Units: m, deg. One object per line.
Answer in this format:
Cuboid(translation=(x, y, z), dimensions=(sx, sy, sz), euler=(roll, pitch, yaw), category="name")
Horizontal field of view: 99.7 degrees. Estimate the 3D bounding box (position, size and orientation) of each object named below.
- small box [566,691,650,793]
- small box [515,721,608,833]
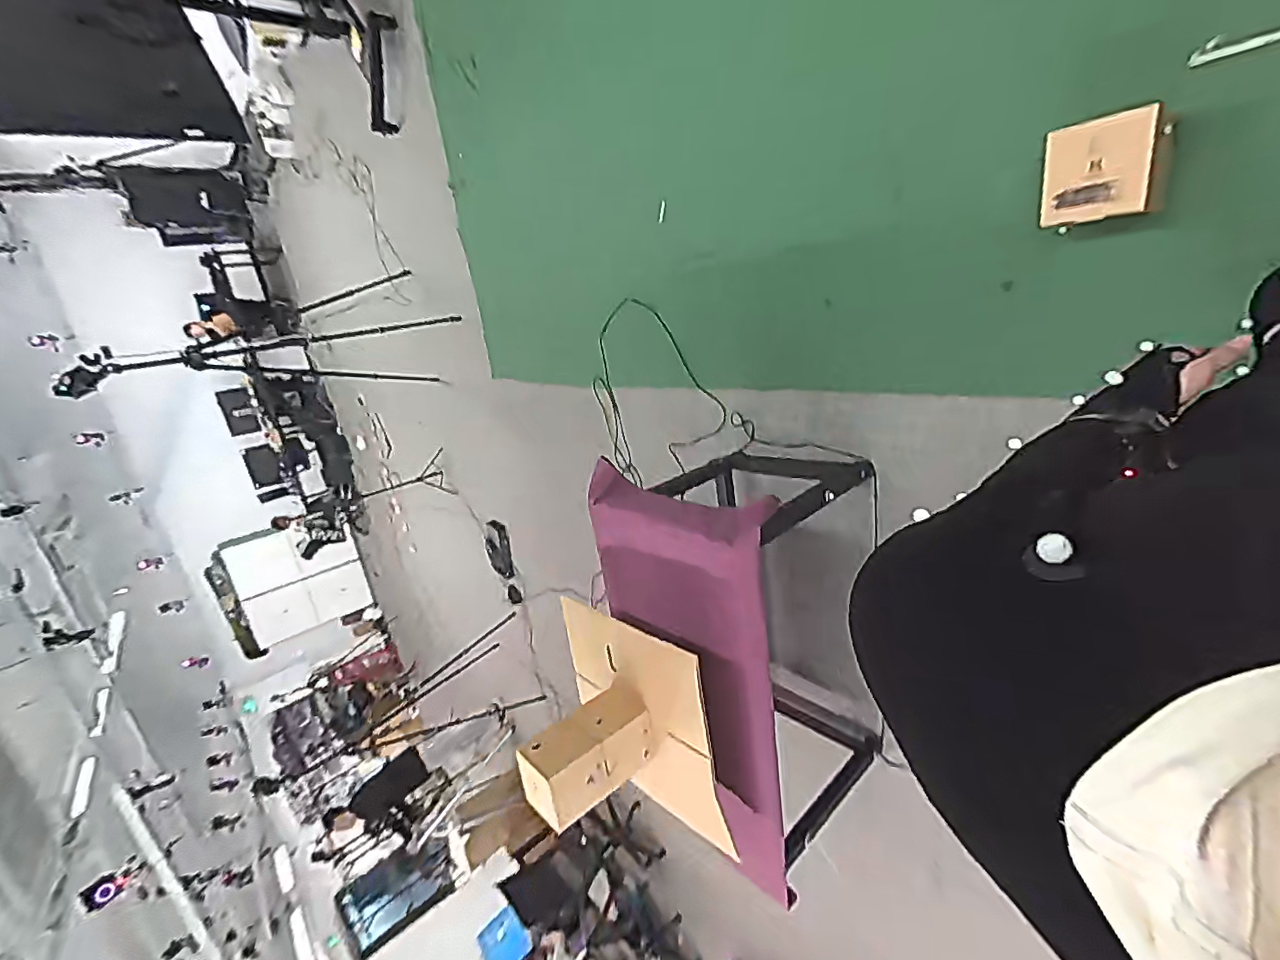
Cuboid(translation=(-0.084, 0.738, 1.549), dimensions=(0.179, 0.176, 0.168), euler=(8, 111, 50), category="small box")
Cuboid(translation=(-0.208, 0.783, 1.452), dimensions=(0.179, 0.176, 0.168), euler=(7, 111, 49), category="small box")
